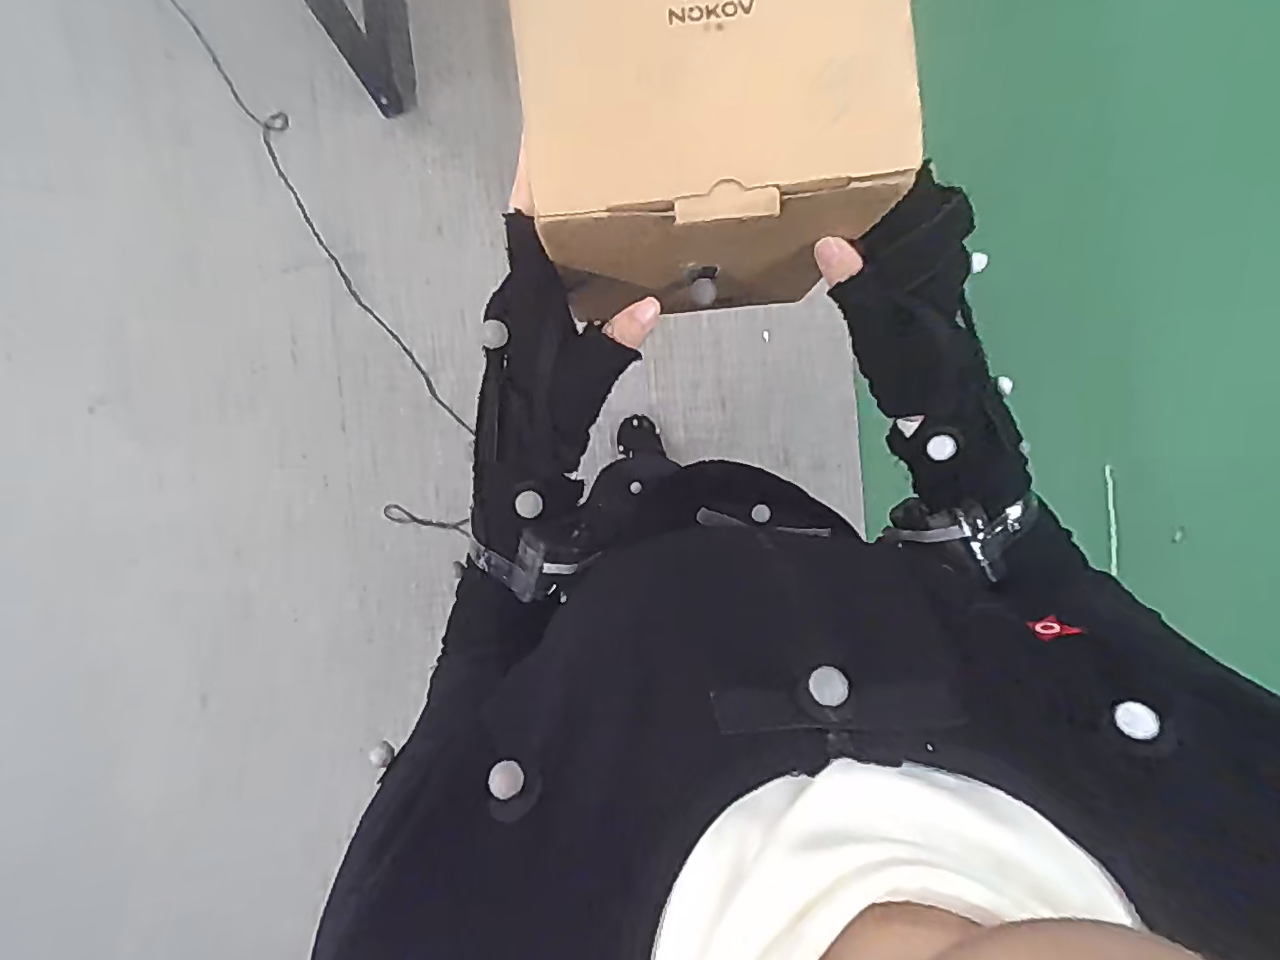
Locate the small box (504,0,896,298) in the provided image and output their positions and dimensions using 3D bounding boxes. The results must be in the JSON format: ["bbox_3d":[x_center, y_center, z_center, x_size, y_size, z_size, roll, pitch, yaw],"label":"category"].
[{"bbox_3d":[0.024,-0.212,0.310,0.168,0.176,0.179,-6,94,0],"label":"small box"}]
